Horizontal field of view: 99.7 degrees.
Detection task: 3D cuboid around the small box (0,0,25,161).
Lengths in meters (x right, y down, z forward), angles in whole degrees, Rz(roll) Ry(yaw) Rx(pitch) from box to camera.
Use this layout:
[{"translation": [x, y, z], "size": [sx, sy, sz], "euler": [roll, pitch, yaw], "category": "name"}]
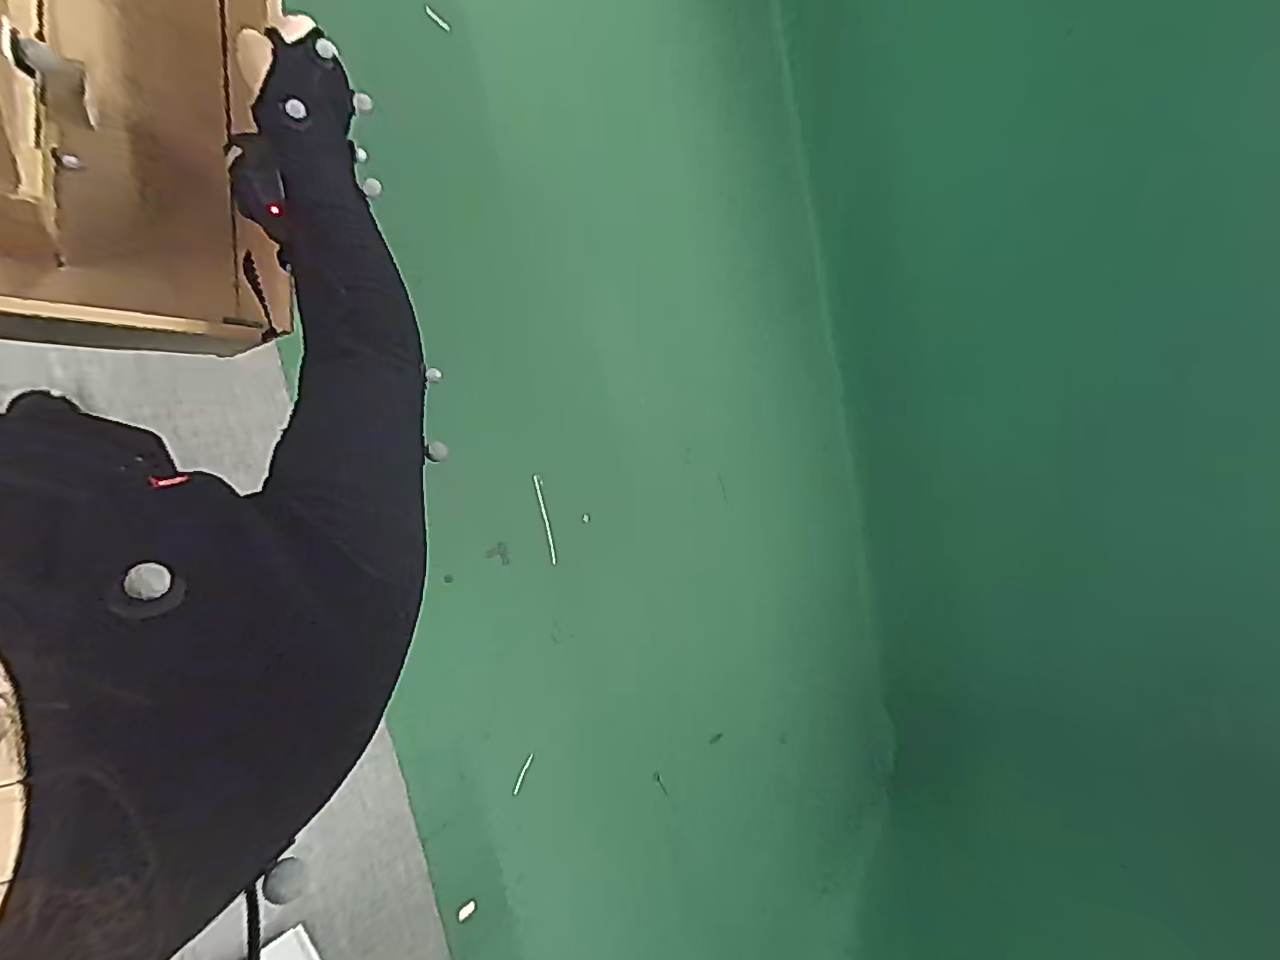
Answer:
[{"translation": [-0.389, -0.258, 0.214], "size": [0.179, 0.176, 0.168], "euler": [-6, 98, -46], "category": "small box"}]
